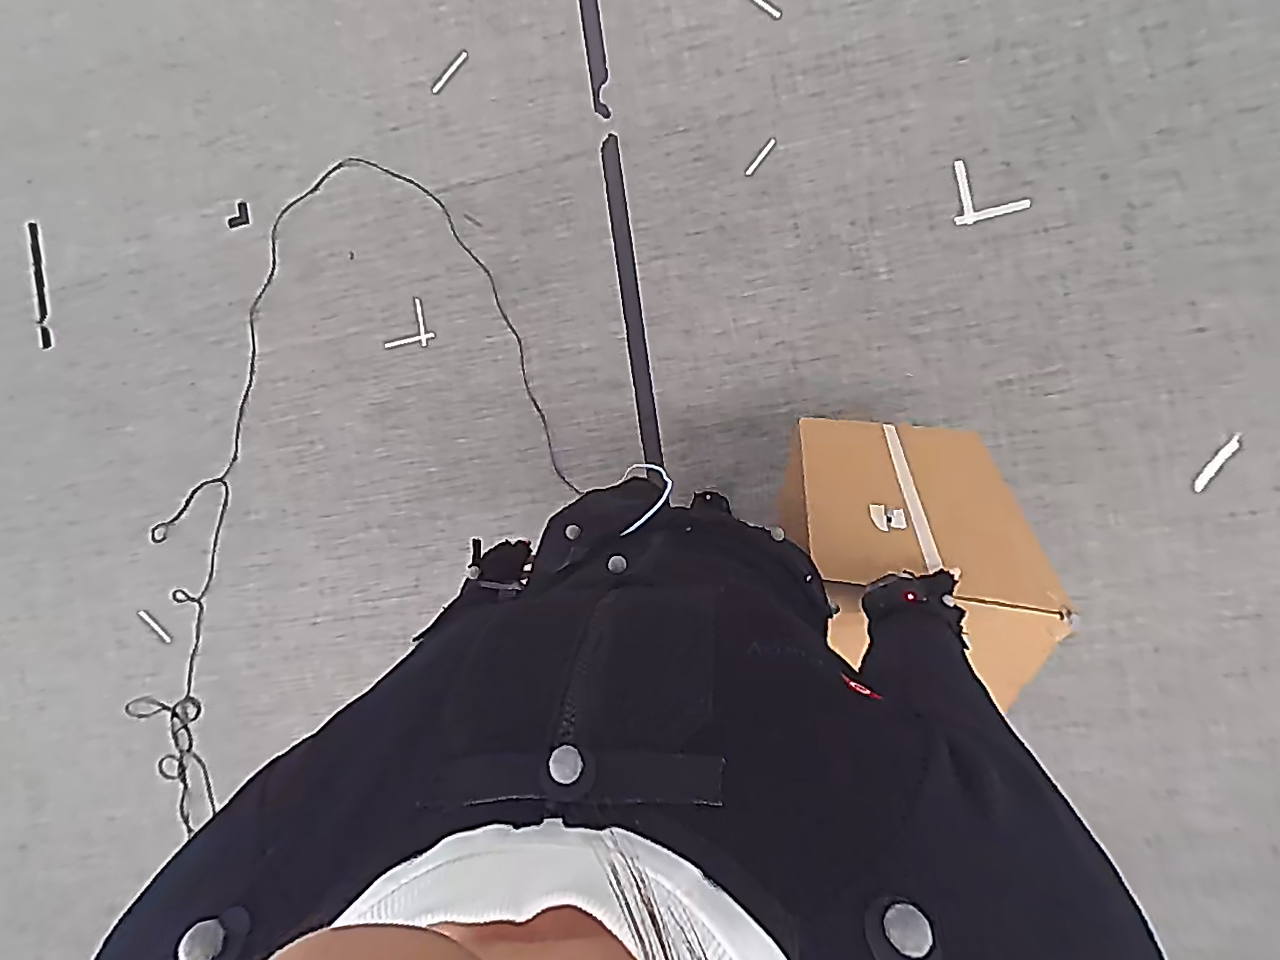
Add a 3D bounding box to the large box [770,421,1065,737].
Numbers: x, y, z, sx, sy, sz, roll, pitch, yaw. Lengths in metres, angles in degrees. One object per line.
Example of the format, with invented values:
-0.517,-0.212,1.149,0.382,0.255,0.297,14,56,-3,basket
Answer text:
0.401,0.146,0.917,0.320,0.408,0.320,6,130,10,large box
